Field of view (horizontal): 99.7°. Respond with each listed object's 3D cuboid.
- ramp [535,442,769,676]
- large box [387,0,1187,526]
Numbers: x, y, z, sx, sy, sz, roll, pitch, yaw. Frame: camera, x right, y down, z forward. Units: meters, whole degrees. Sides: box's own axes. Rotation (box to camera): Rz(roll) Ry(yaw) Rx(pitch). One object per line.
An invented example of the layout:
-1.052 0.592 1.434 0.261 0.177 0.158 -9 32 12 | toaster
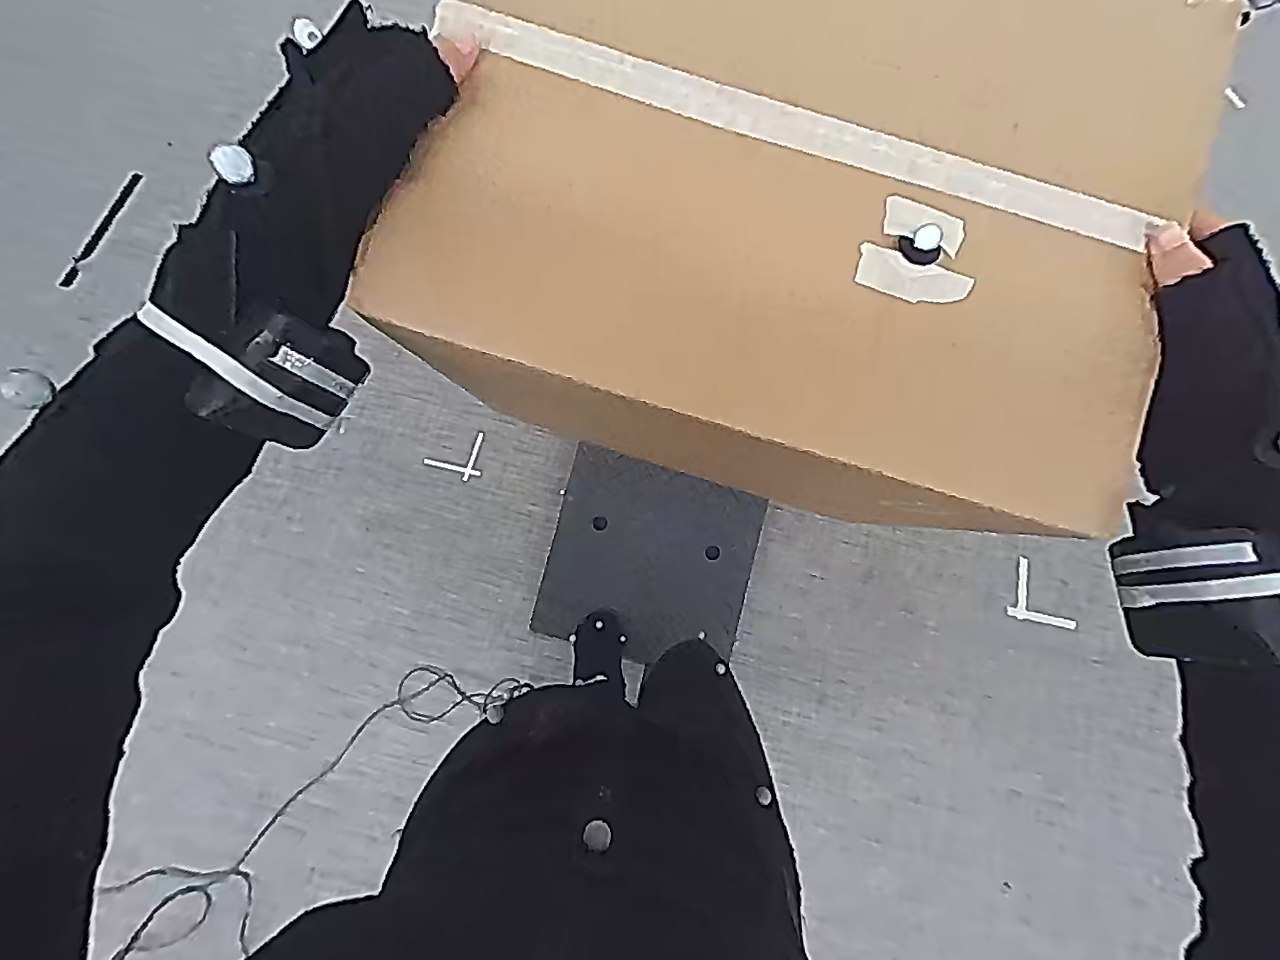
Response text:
0.099 -0.057 1.359 0.509 0.206 0.991 13 76 0 | ramp
0.085 -0.166 0.453 0.408 0.320 0.320 17 88 -1 | large box
